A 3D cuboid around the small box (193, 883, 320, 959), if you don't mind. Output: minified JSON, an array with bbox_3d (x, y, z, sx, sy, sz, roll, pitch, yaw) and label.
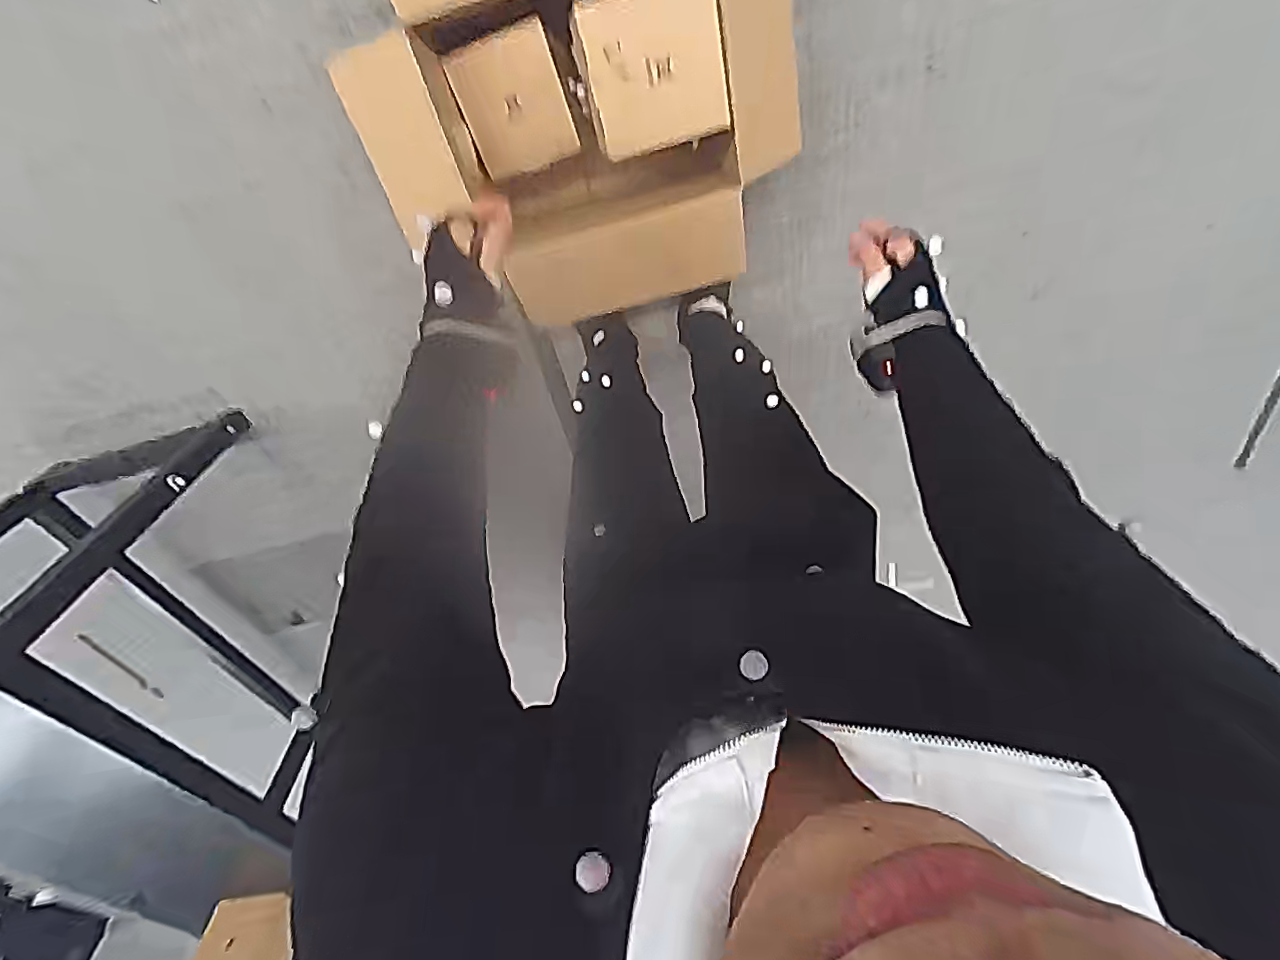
[{"bbox_3d":[-0.945,1.132,1.339,0.179,0.176,0.168,-15,127,8],"label":"small box"}]
